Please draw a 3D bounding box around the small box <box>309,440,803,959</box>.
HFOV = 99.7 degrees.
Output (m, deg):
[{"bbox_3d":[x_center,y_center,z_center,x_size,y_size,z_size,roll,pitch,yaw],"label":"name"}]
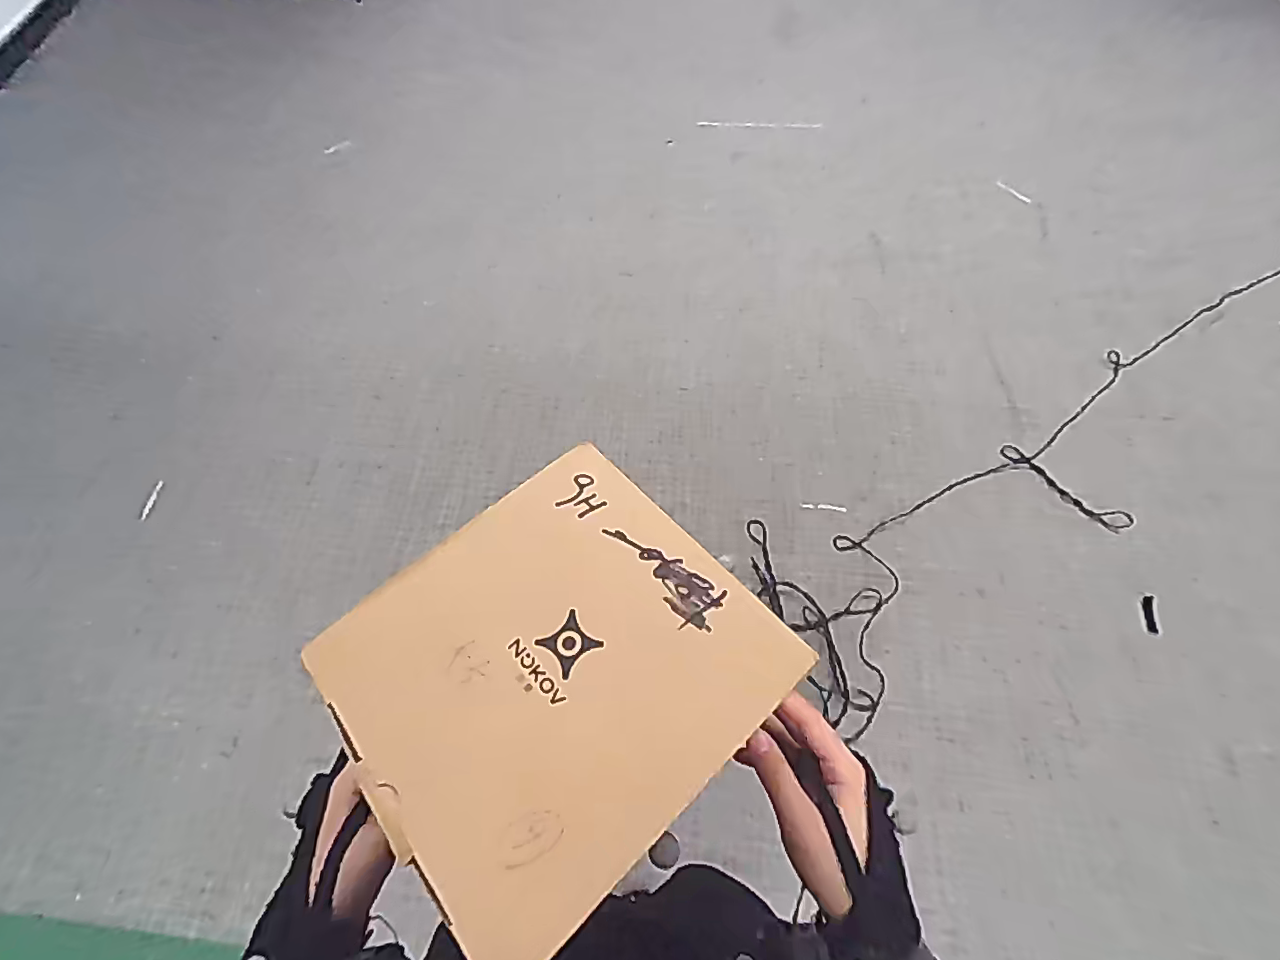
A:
[{"bbox_3d":[-0.036,0.118,0.315,0.179,0.176,0.168,-39,64,-18],"label":"small box"}]
